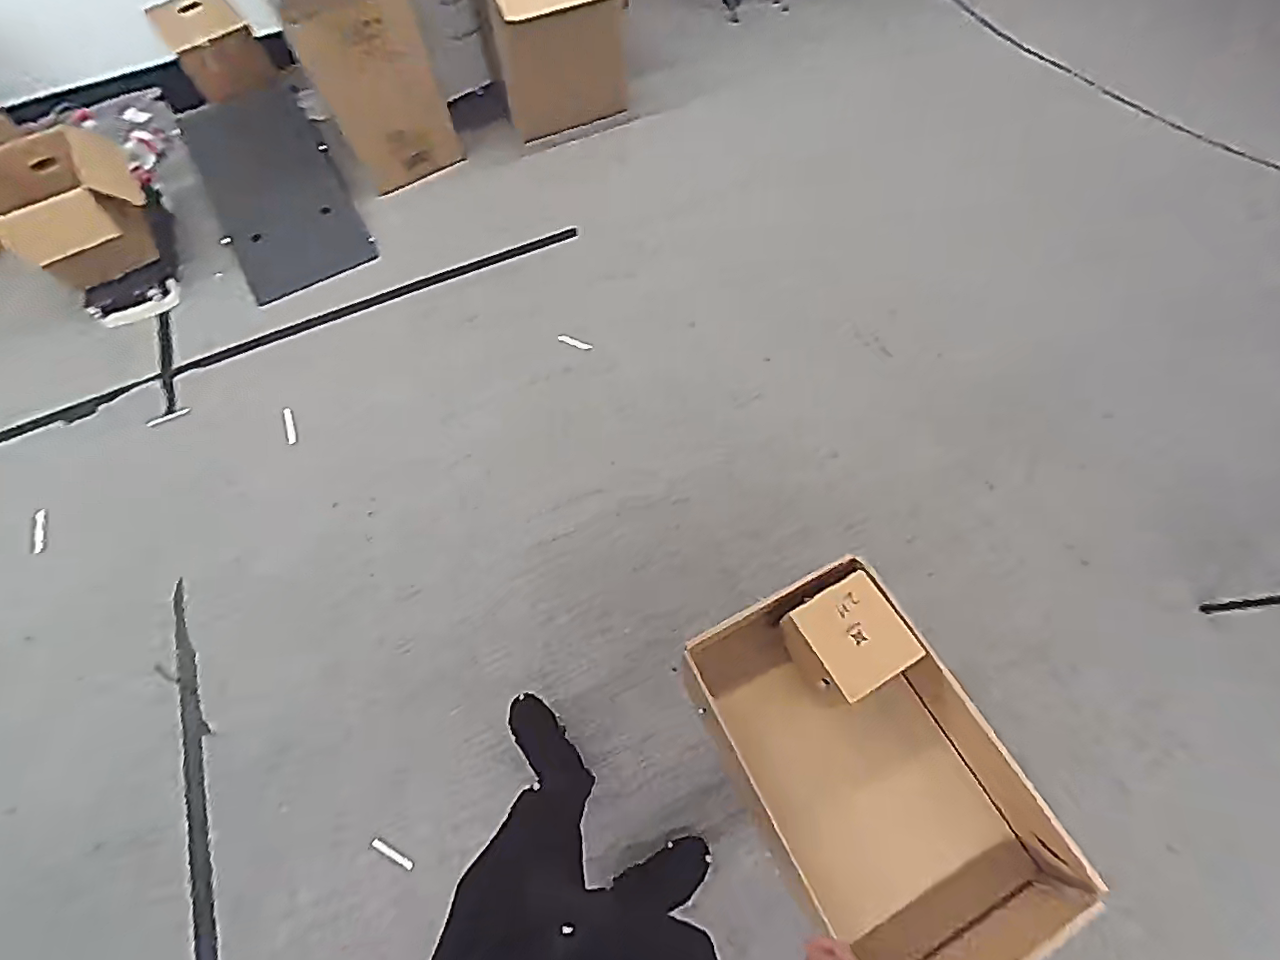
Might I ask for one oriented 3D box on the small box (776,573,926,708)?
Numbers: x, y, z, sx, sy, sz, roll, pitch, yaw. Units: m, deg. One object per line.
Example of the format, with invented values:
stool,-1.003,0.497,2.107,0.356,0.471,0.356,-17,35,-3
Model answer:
small box,0.379,0.304,1.007,0.168,0.176,0.179,-27,66,-11
